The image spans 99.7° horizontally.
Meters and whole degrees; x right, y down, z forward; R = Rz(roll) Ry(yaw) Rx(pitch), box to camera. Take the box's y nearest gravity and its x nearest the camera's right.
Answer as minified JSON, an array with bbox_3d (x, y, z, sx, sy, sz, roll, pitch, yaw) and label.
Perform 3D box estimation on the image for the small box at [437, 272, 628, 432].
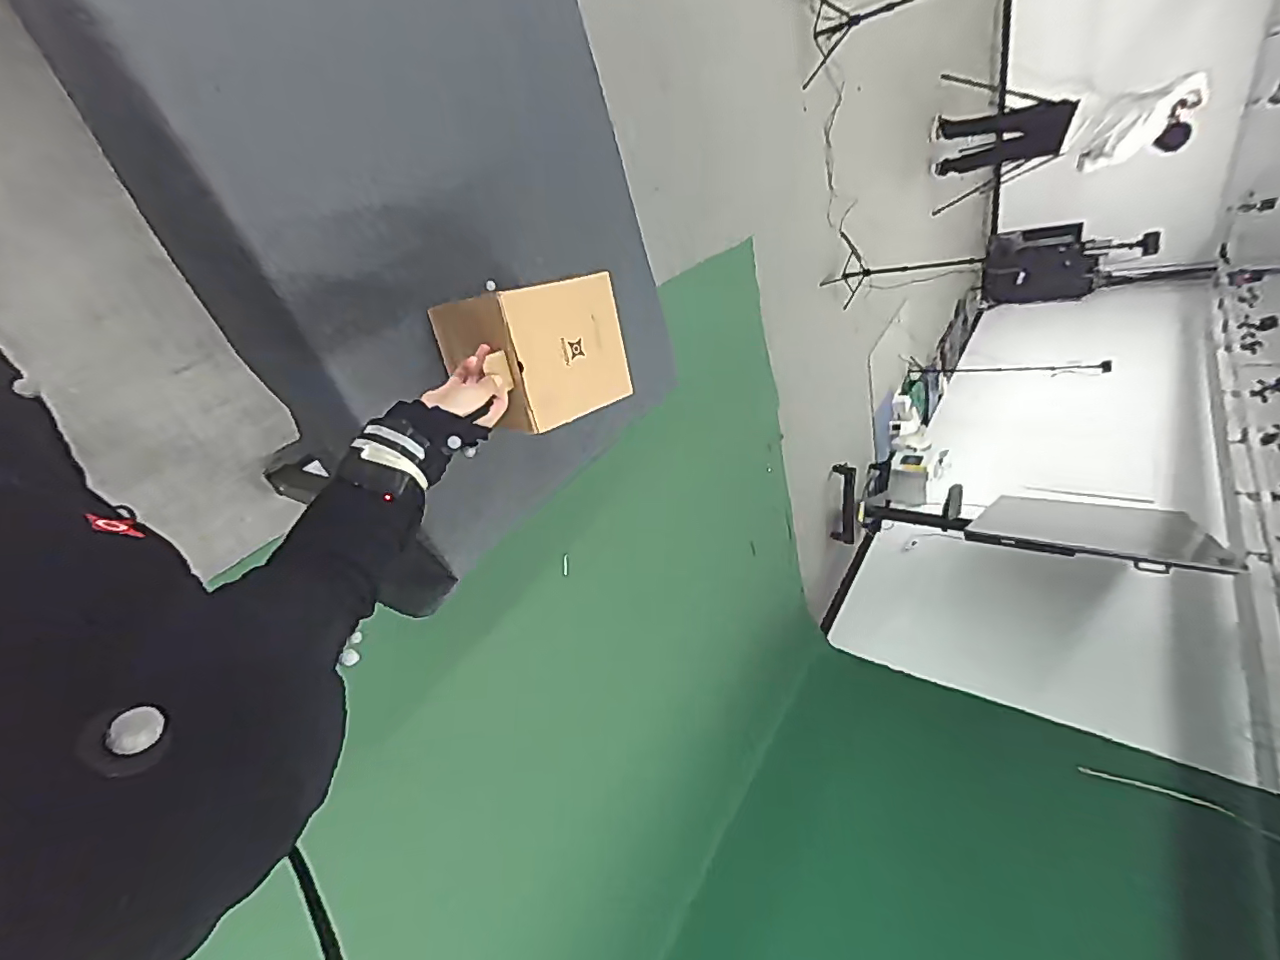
[{"bbox_3d":[-0.146,-0.170,0.722,0.179,0.176,0.168,-32,120,-41],"label":"small box"}]
